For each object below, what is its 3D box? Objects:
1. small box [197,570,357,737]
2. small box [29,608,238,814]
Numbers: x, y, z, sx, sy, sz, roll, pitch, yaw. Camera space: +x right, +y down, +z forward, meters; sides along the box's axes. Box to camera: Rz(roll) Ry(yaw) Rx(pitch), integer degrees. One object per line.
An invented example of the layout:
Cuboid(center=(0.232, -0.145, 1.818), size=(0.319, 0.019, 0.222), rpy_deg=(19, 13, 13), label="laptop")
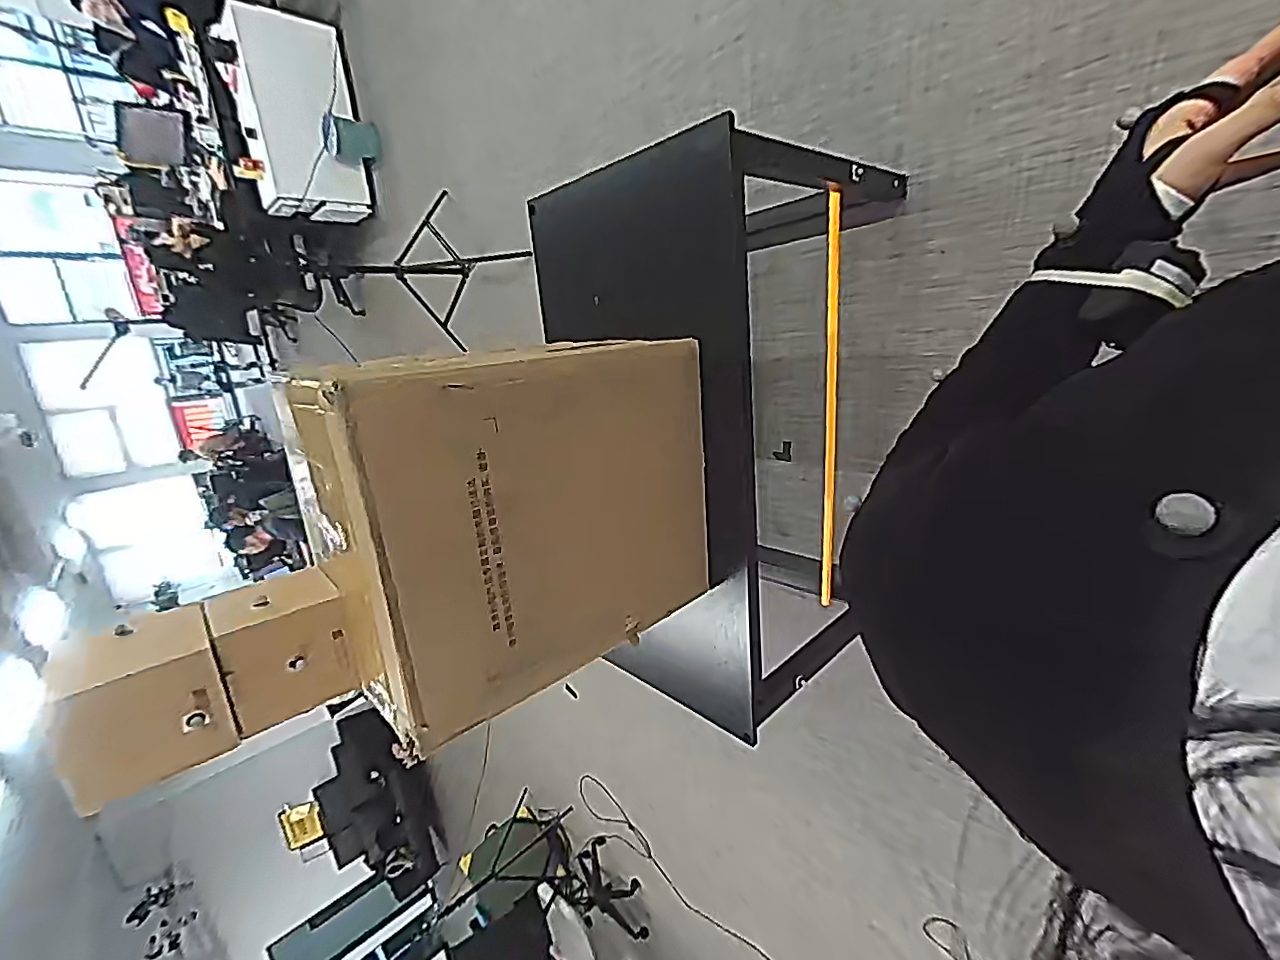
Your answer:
Cuboid(center=(-0.570, 0.260, 0.861), size=(0.179, 0.176, 0.168), rpy_deg=(13, 112, 46), label="small box")
Cuboid(center=(-0.681, 0.297, 0.746), size=(0.179, 0.176, 0.168), rpy_deg=(15, 115, 46), label="small box")
